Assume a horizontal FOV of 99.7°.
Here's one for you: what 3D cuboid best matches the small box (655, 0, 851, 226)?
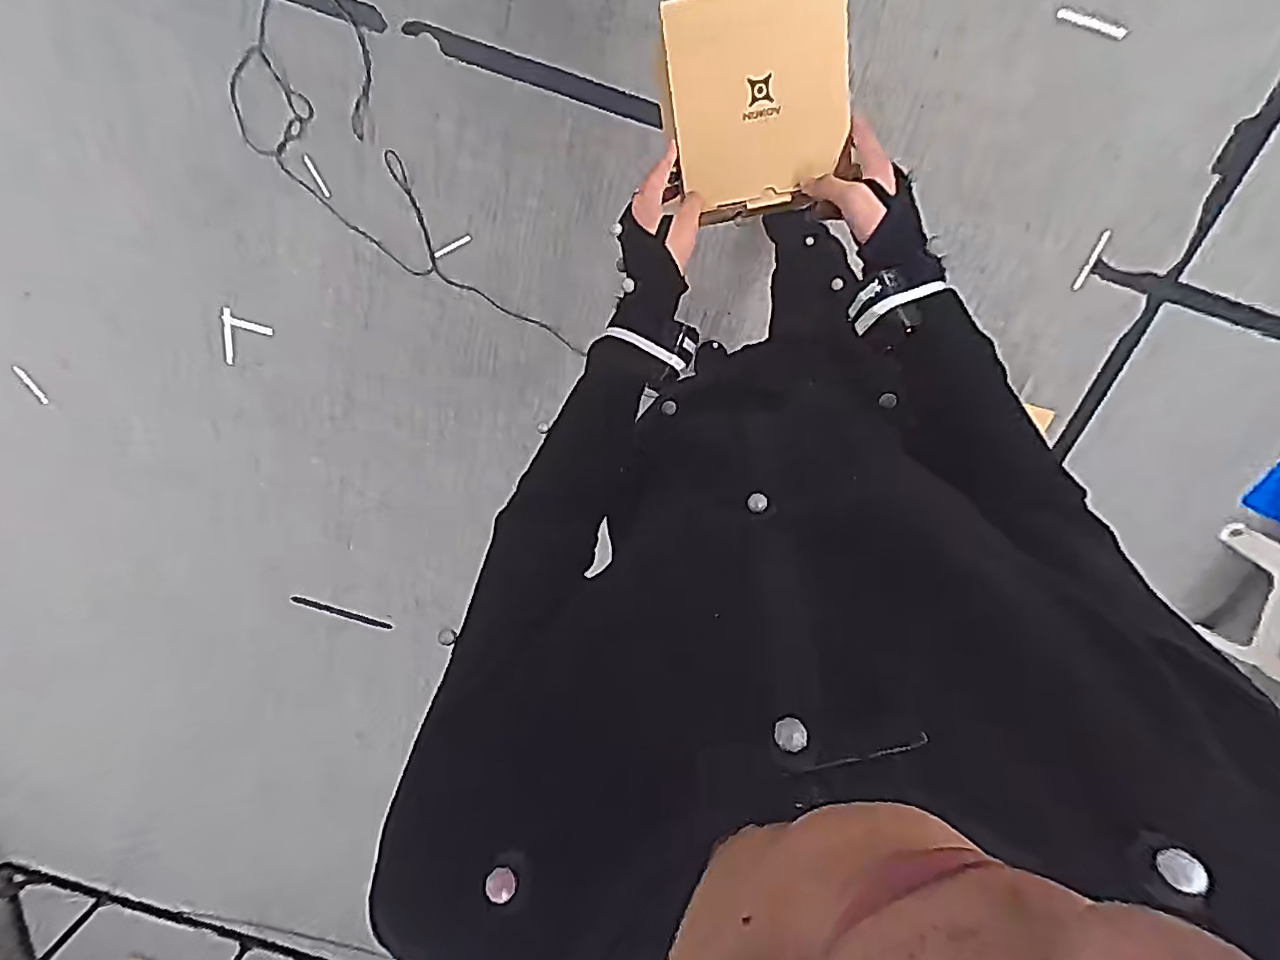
[{"bbox_3d":[0.111,-0.387,0.579,0.168,0.176,0.179,-10,110,4],"label":"small box"}]

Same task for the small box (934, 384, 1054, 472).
[{"bbox_3d":[0.914,-0.144,1.420,0.179,0.176,0.168,16,113,0],"label":"small box"}]
